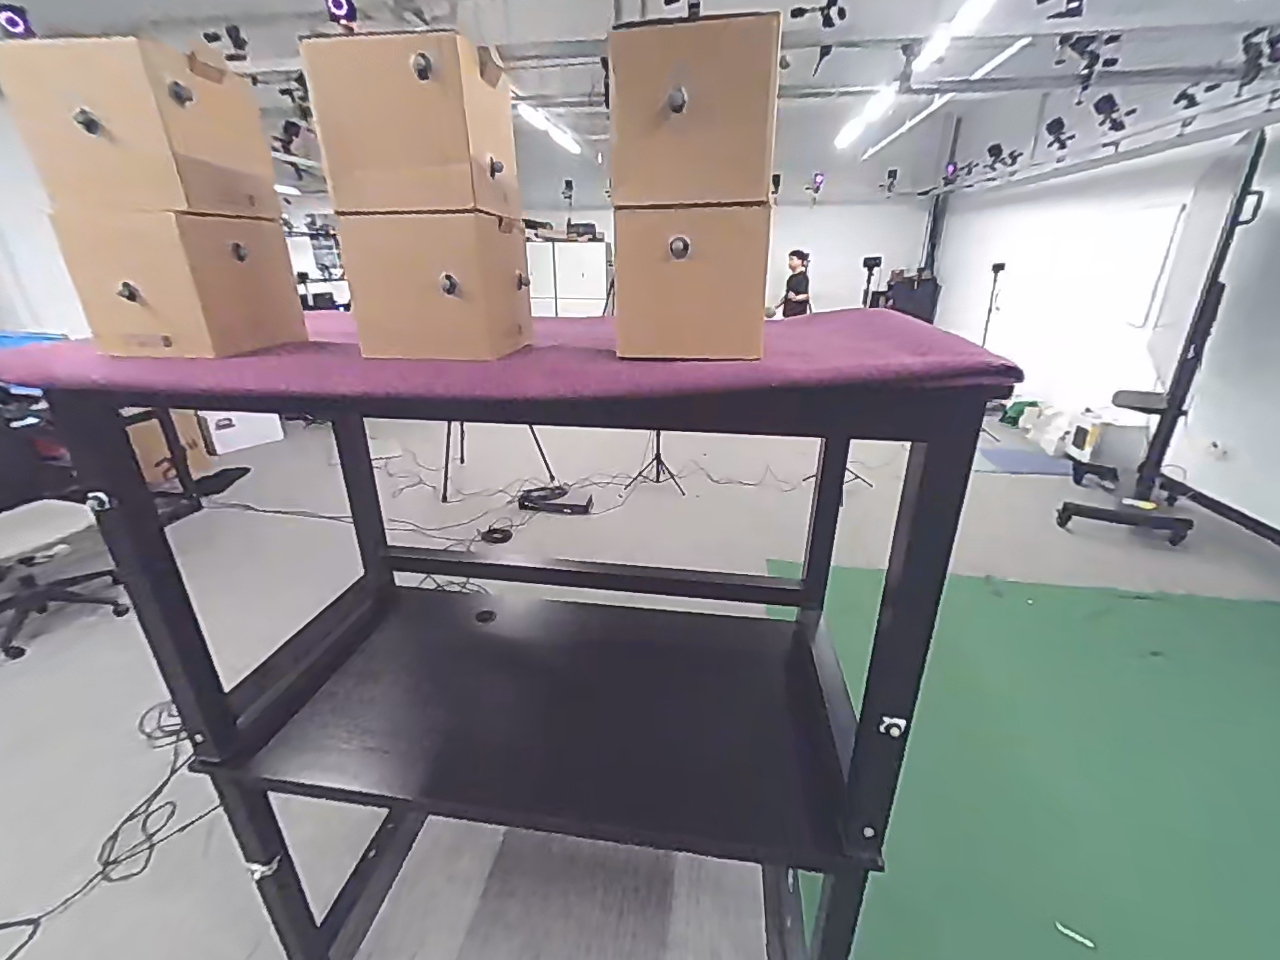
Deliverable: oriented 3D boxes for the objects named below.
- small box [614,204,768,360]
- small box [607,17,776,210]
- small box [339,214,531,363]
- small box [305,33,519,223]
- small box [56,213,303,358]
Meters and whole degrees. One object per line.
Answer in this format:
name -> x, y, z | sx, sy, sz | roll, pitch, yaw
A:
small box -> 0.069, -0.248, 0.699 | 0.179, 0.176, 0.168 | 3, 20, 9
small box -> 0.066, -0.403, 0.645 | 0.179, 0.176, 0.168 | 2, 20, 10
small box -> -0.254, -0.252, 0.718 | 0.179, 0.176, 0.168 | 2, 21, 7
small box -> -0.260, -0.405, 0.660 | 0.179, 0.176, 0.168 | 2, 21, 5
small box -> -0.596, -0.263, 0.732 | 0.168, 0.176, 0.179 | 3, 23, 5
